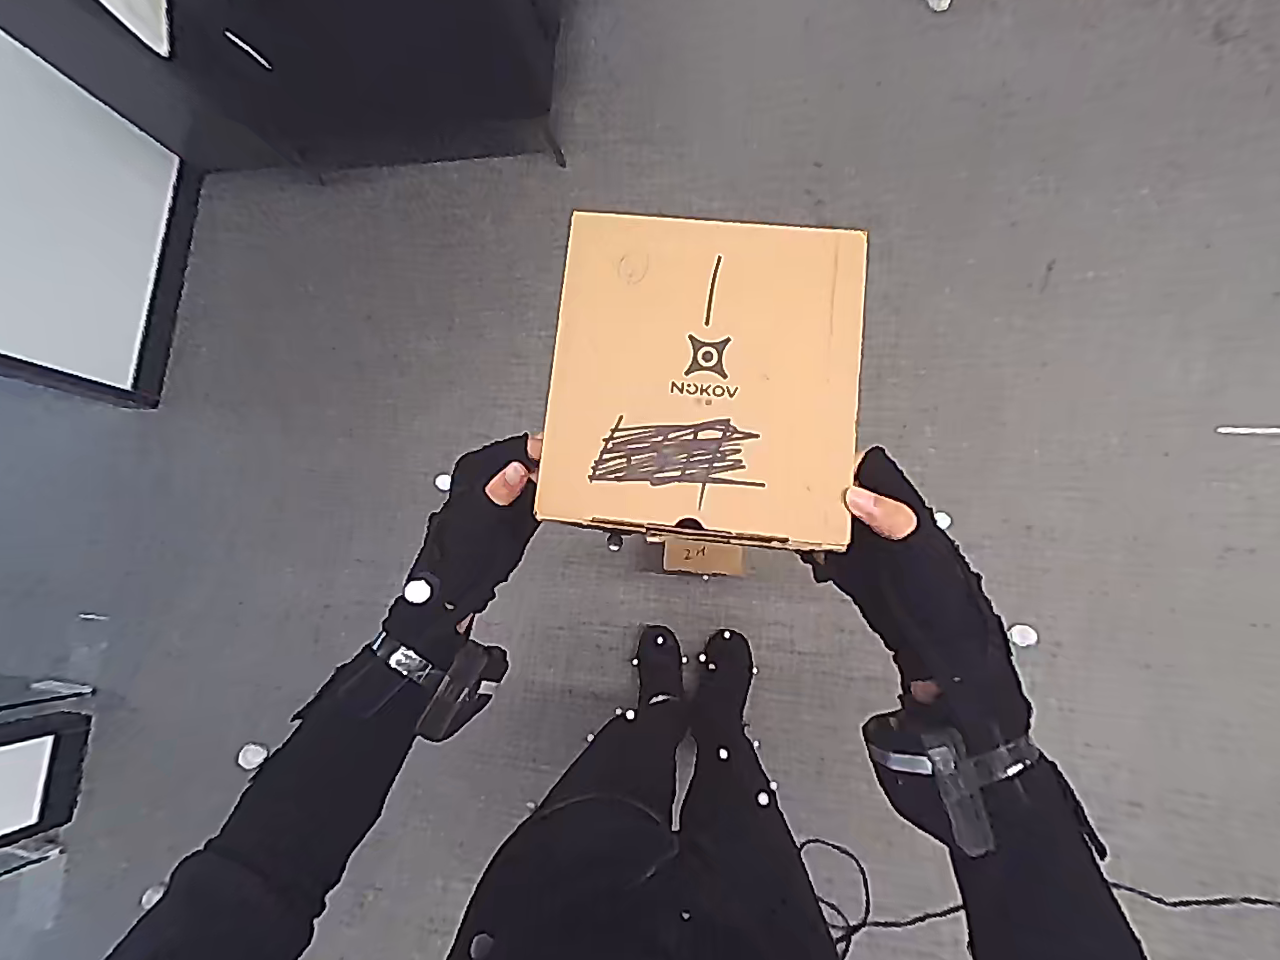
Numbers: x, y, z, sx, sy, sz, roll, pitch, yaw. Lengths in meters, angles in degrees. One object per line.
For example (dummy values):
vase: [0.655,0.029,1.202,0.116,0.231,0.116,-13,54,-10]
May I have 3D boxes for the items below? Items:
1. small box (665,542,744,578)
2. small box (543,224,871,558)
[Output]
small box: [0.153,0.126,1.219,0.168,0.176,0.179,3,81,12]
small box: [0.042,-0.043,0.371,0.168,0.176,0.179,5,83,3]
